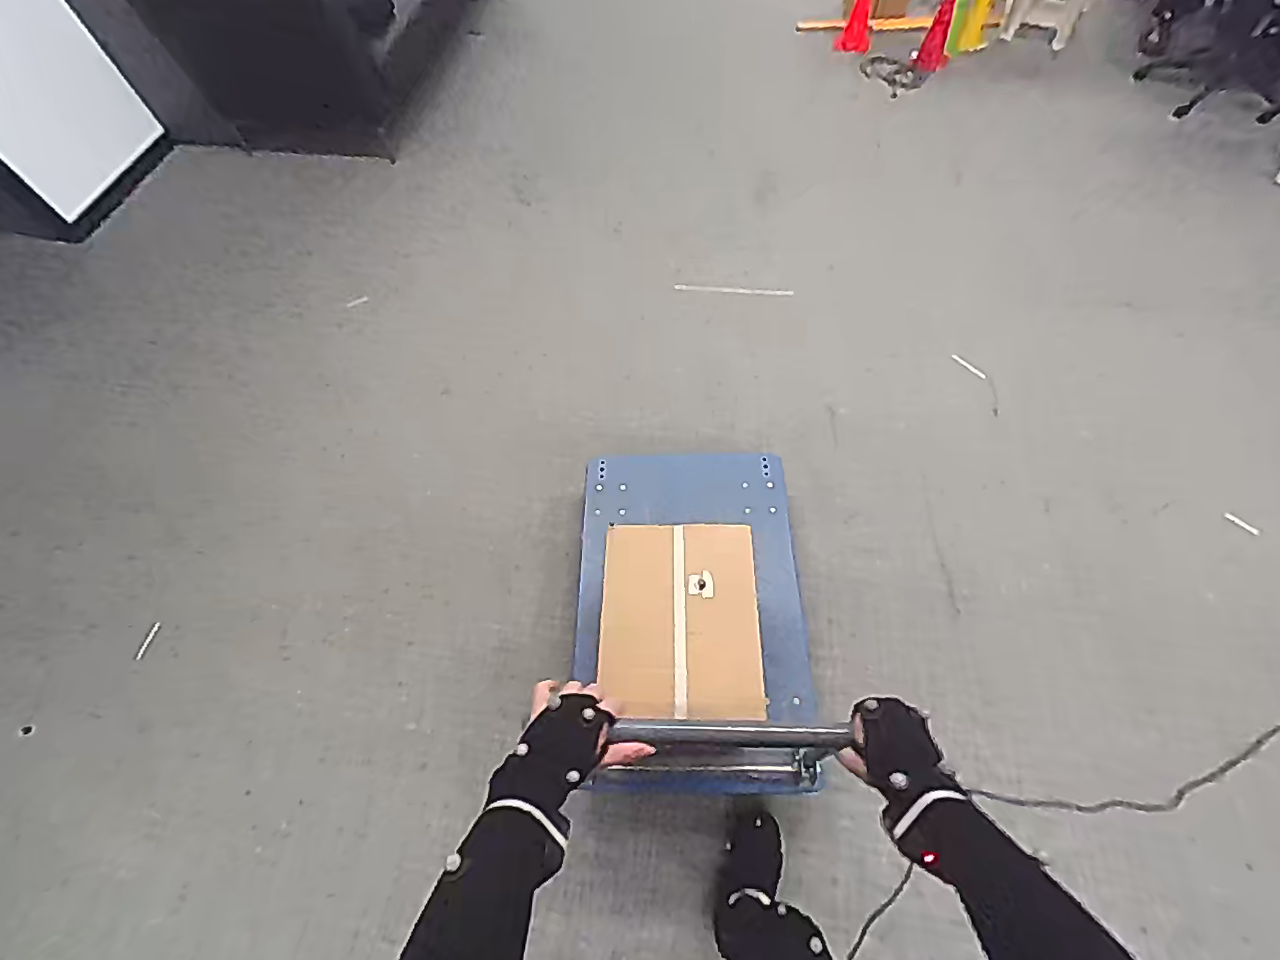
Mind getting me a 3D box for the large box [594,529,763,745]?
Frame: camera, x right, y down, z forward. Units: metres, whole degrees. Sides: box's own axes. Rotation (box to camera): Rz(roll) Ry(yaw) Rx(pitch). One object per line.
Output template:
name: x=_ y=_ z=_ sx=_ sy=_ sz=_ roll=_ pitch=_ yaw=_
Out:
large box: x=0.079 y=0.357 z=1.207 sx=0.320 sy=0.320 sz=0.408 roll=0 pitch=58 yaw=3
